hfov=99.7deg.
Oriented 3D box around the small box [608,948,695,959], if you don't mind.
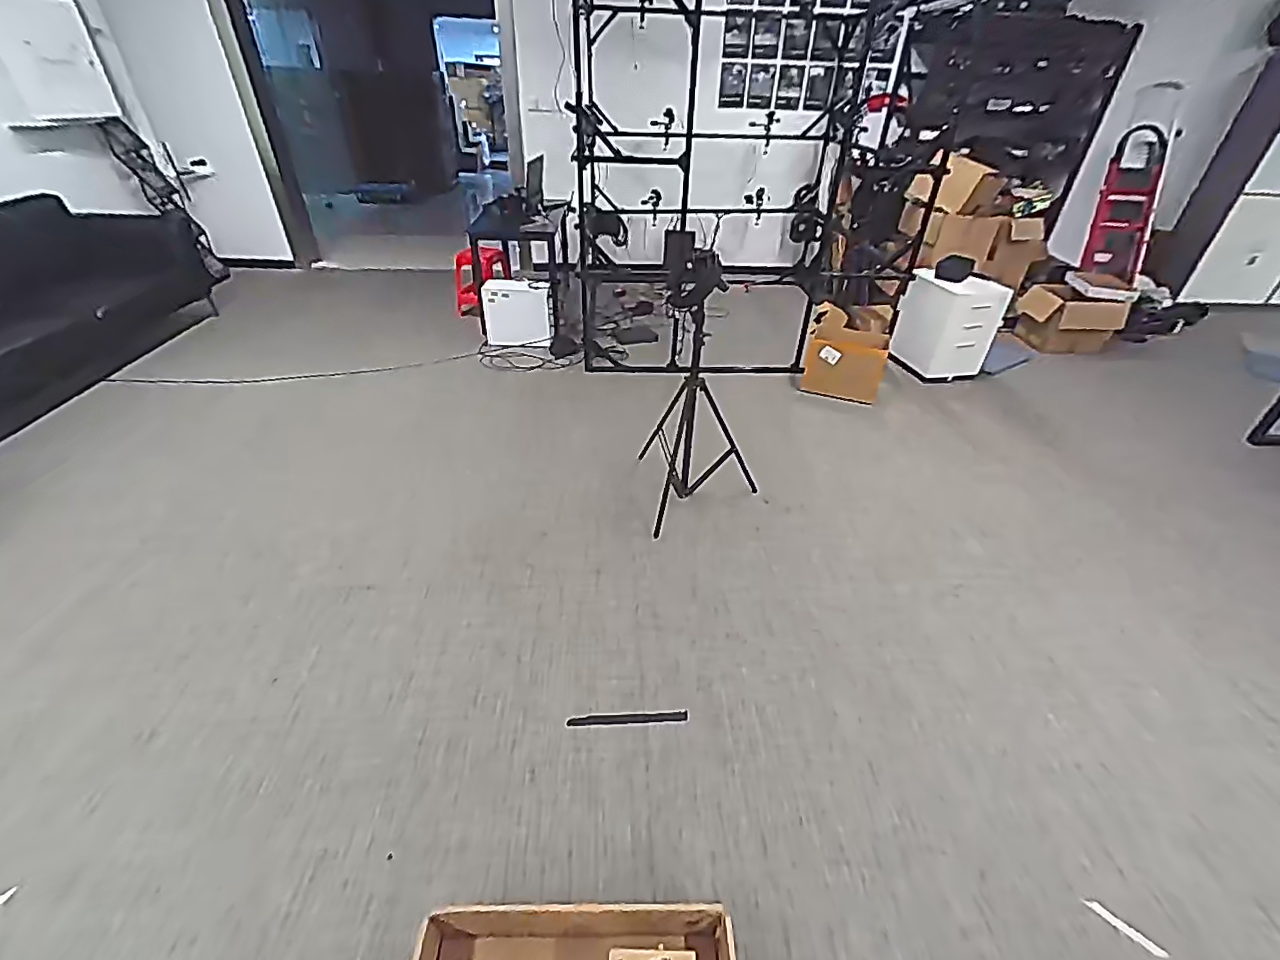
[{"bbox_3d":[0.020,1.007,1.006,0.168,0.176,0.179,1,38,0],"label":"small box"}]
